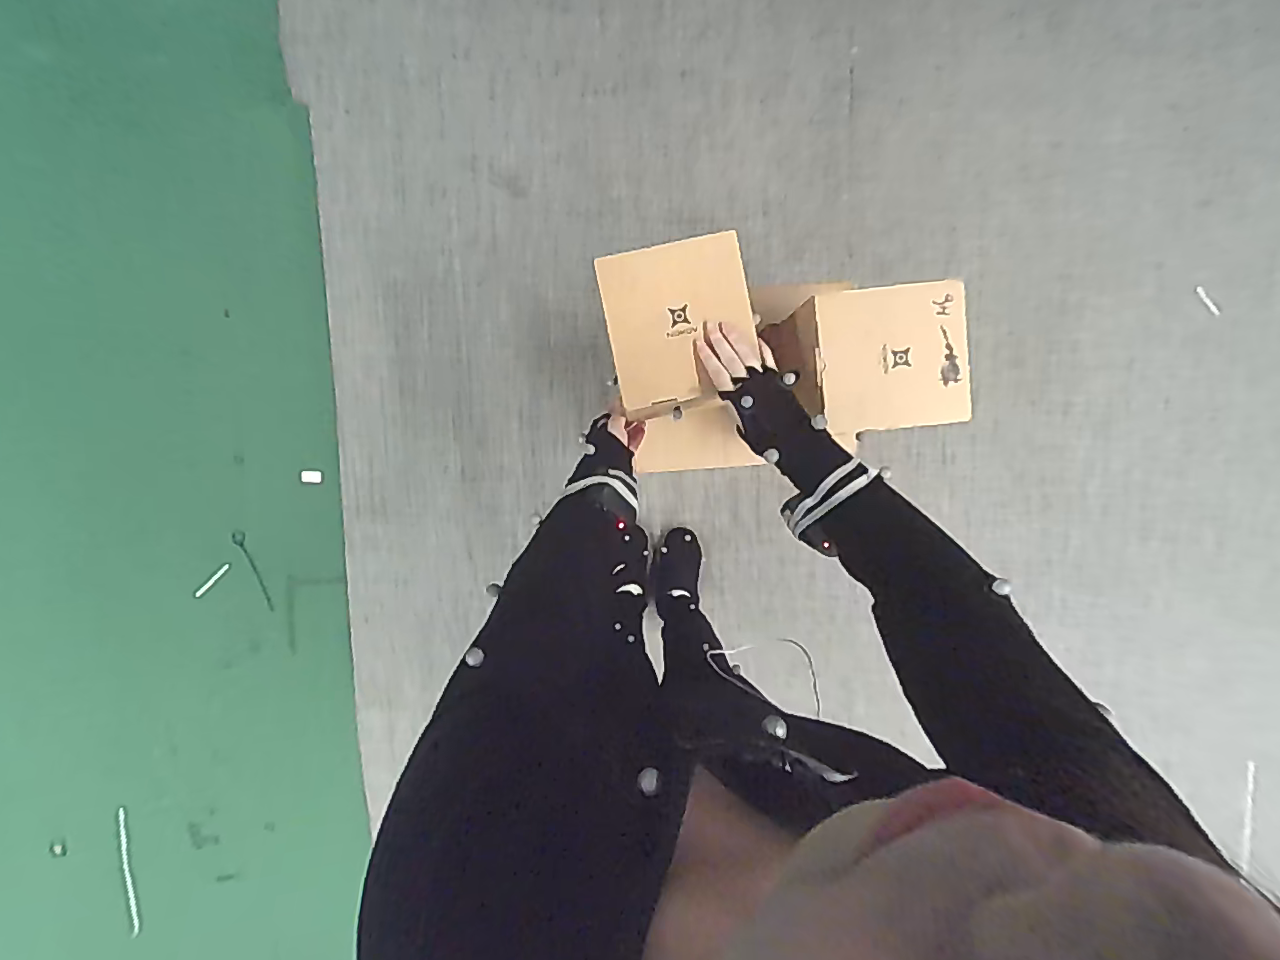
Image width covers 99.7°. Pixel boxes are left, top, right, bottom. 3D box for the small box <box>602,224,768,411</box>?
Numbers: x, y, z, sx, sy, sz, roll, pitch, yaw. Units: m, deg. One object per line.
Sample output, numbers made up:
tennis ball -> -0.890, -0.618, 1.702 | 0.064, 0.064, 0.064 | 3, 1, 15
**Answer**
small box -> 0.048, -0.194, 0.692 | 0.168, 0.176, 0.179 | -12, 93, -1
